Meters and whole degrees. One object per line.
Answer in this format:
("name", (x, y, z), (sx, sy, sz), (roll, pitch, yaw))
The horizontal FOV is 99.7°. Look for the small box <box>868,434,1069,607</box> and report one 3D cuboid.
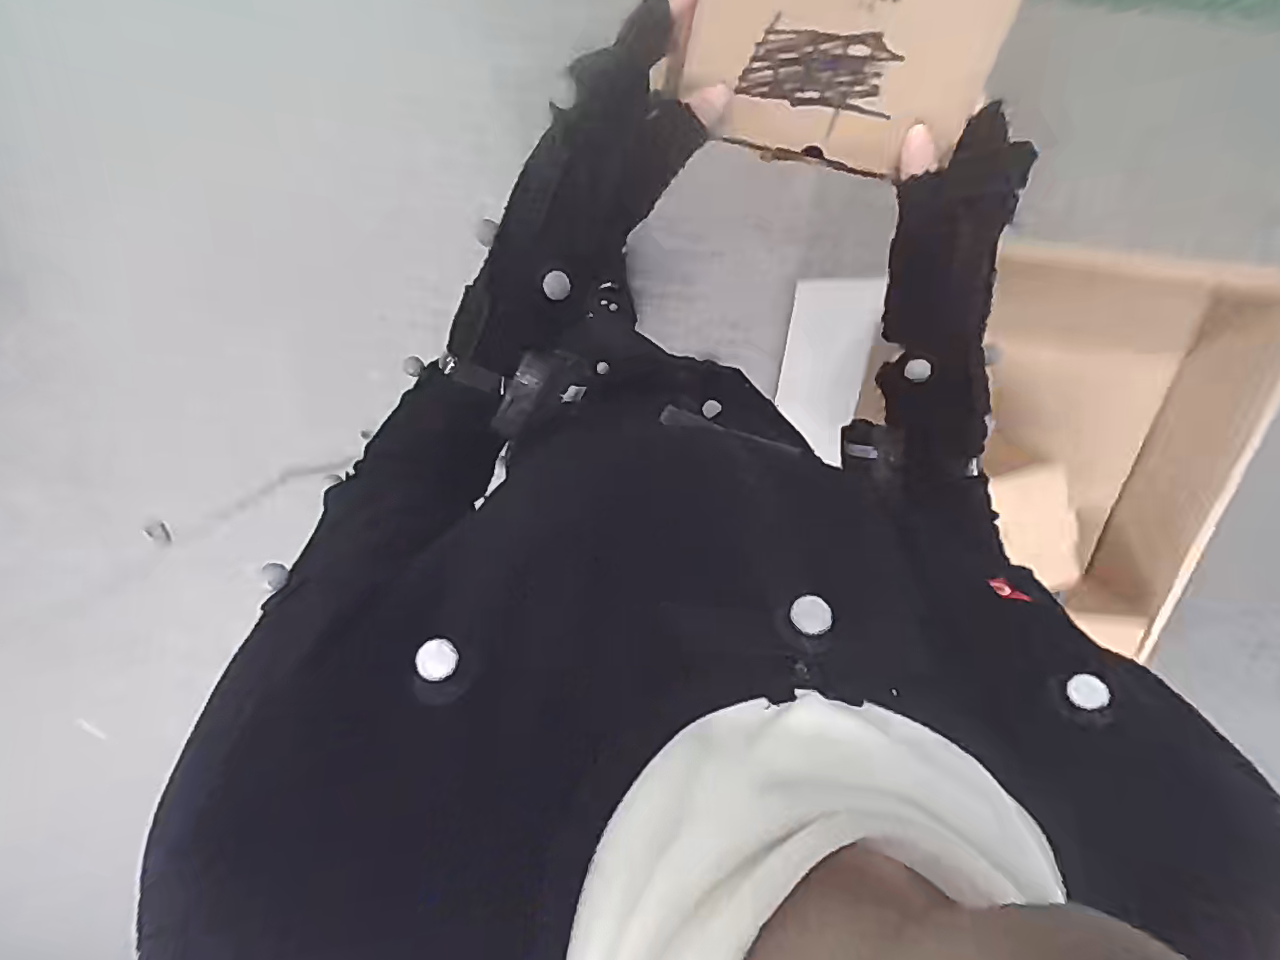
("small box", (0.442, 0.047, 0.749), (0.179, 0.176, 0.168), (-16, 105, 11))
